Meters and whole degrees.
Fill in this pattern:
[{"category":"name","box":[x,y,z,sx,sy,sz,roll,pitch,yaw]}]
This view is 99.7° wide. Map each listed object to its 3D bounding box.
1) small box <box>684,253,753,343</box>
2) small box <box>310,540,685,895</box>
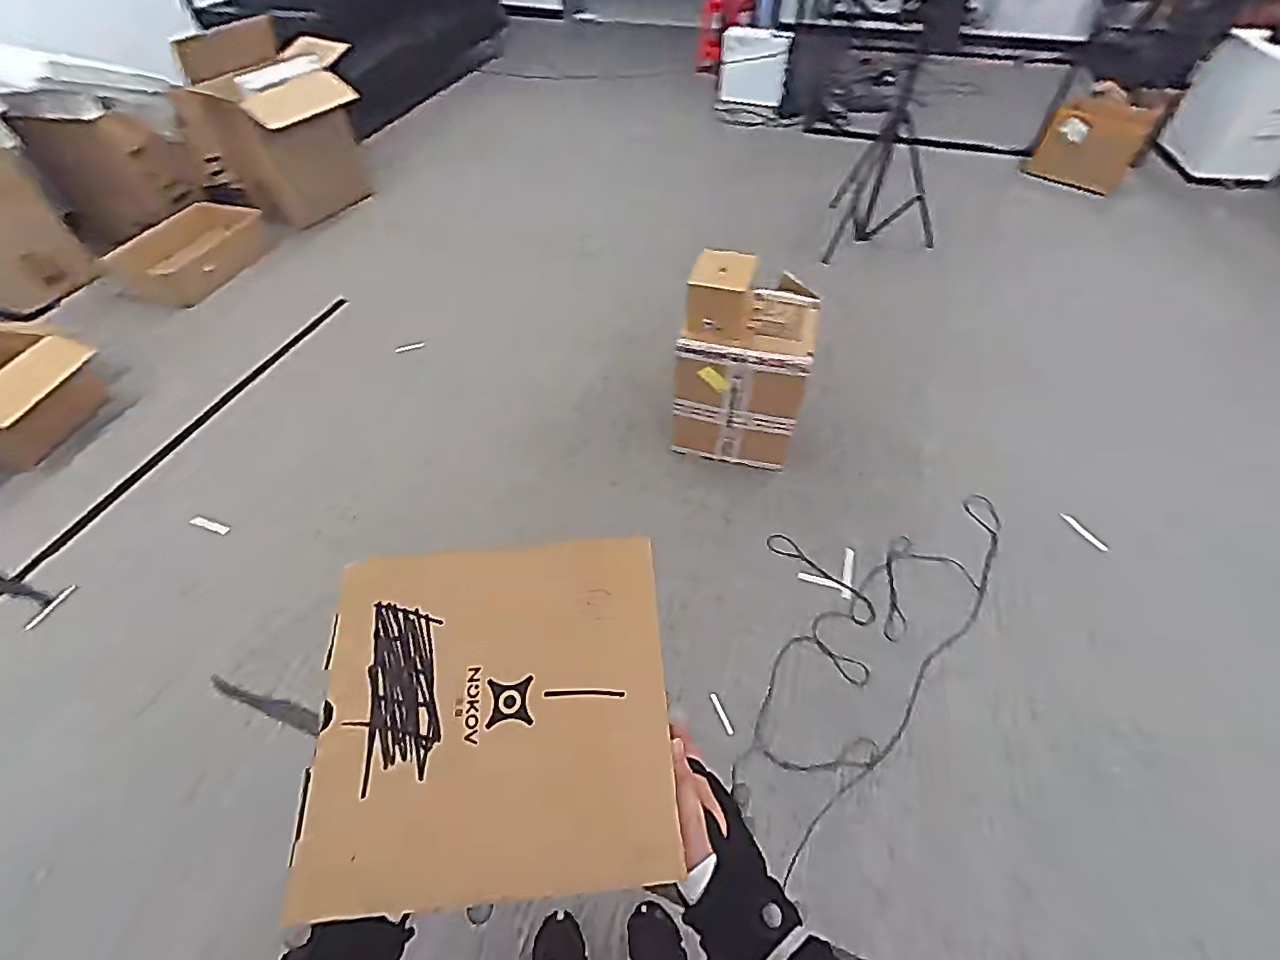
[{"category":"small box","box":[0.226,-0.533,1.584,0.168,0.176,0.179,13,58,13]},{"category":"small box","box":[-0.069,0.150,0.354,0.179,0.176,0.168,-4,63,-2]}]
